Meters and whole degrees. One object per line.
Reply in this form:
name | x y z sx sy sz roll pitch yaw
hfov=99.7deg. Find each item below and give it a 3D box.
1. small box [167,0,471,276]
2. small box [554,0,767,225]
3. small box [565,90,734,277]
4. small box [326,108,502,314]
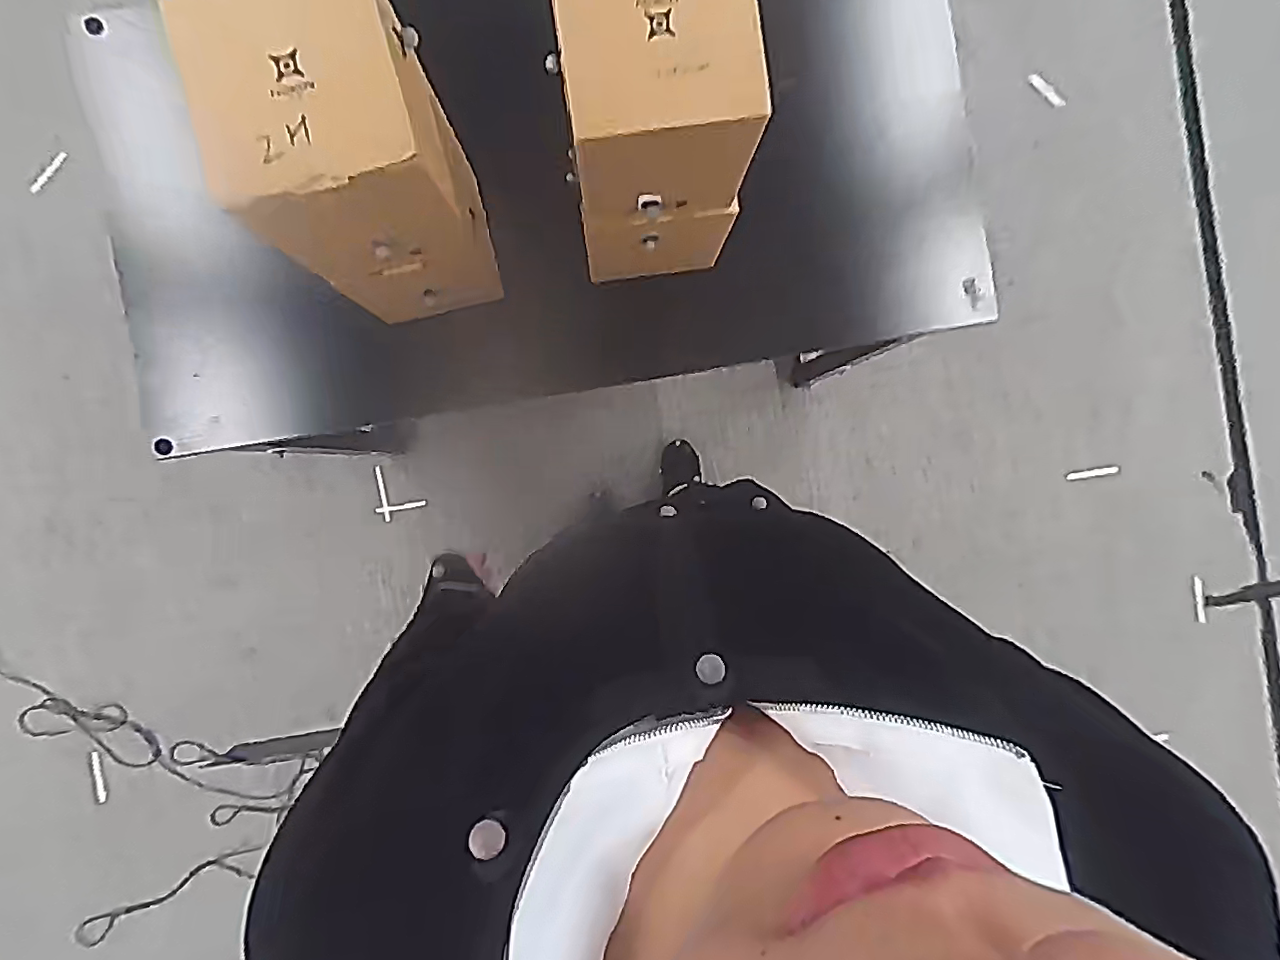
small box | -0.279 -0.323 0.512 0.168 0.176 0.179 -15 91 -1
small box | 0.011 -0.379 0.525 0.168 0.176 0.179 -9 92 -1
small box | 0.009 -0.373 0.687 0.179 0.176 0.168 -8 91 -2
small box | -0.285 -0.321 0.678 0.168 0.176 0.179 -14 92 -1
